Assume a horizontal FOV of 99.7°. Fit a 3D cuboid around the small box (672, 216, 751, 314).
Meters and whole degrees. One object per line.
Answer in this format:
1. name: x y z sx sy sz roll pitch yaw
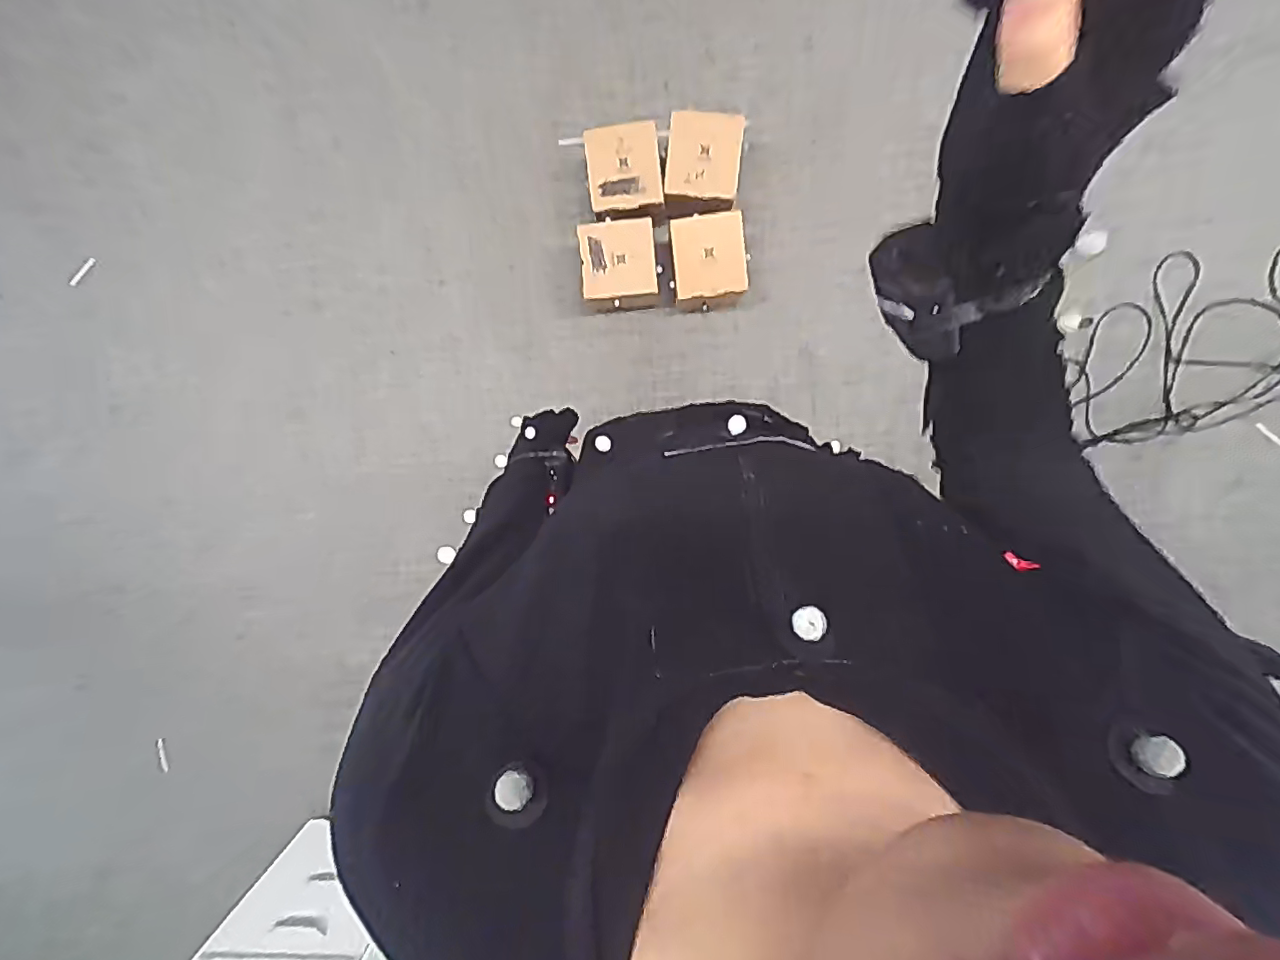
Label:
1. small box: 0.168 -0.515 1.316 0.168 0.176 0.179 -7 98 4
